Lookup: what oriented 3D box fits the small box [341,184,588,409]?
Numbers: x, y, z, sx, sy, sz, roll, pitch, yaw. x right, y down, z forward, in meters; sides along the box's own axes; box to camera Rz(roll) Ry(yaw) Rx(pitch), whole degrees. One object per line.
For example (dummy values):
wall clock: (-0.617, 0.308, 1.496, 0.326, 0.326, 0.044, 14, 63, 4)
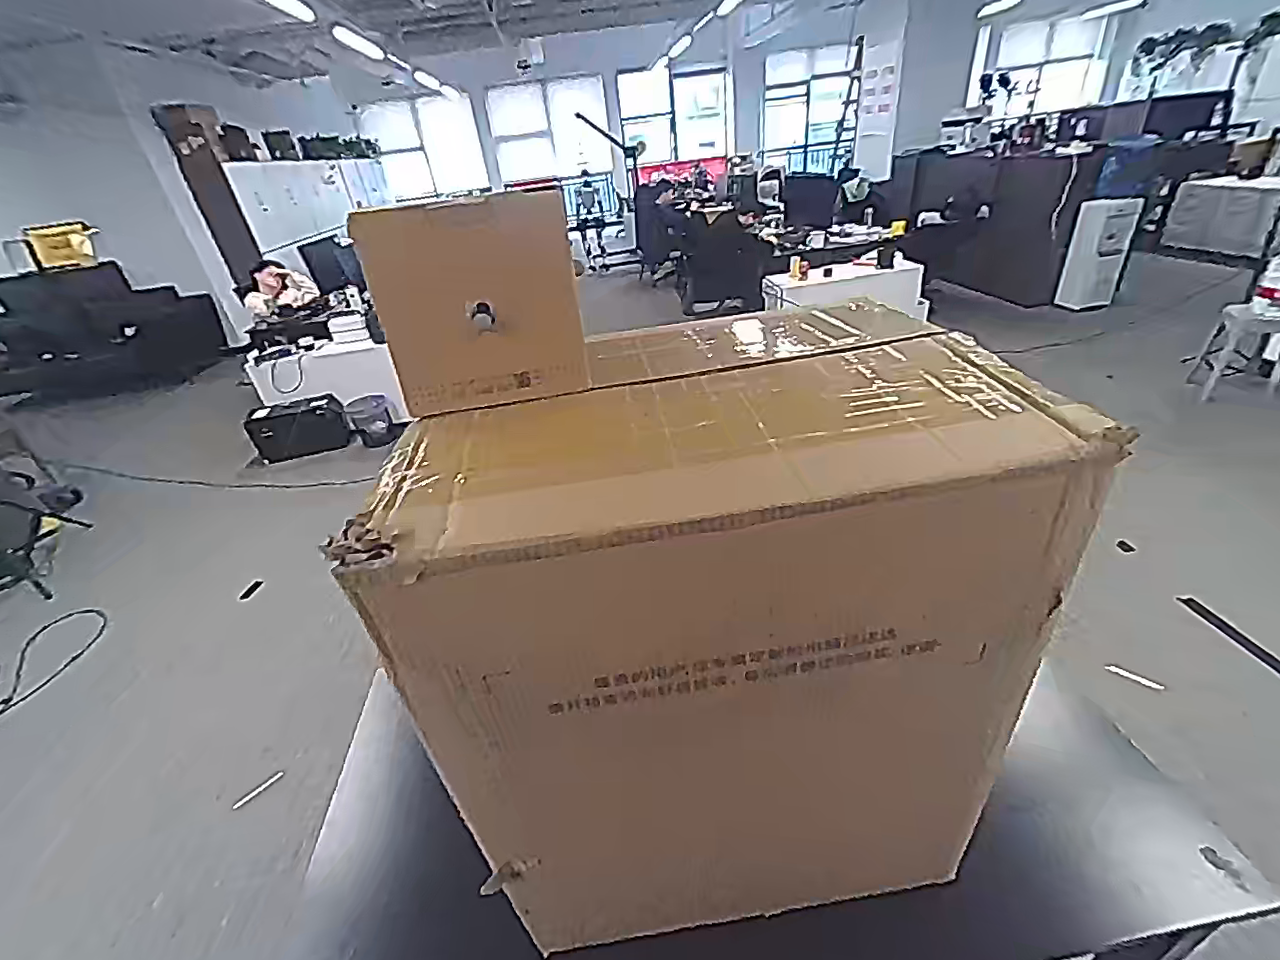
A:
small box: (-0.148, -0.176, 0.518, 0.168, 0.176, 0.179, -11, 30, -6)
